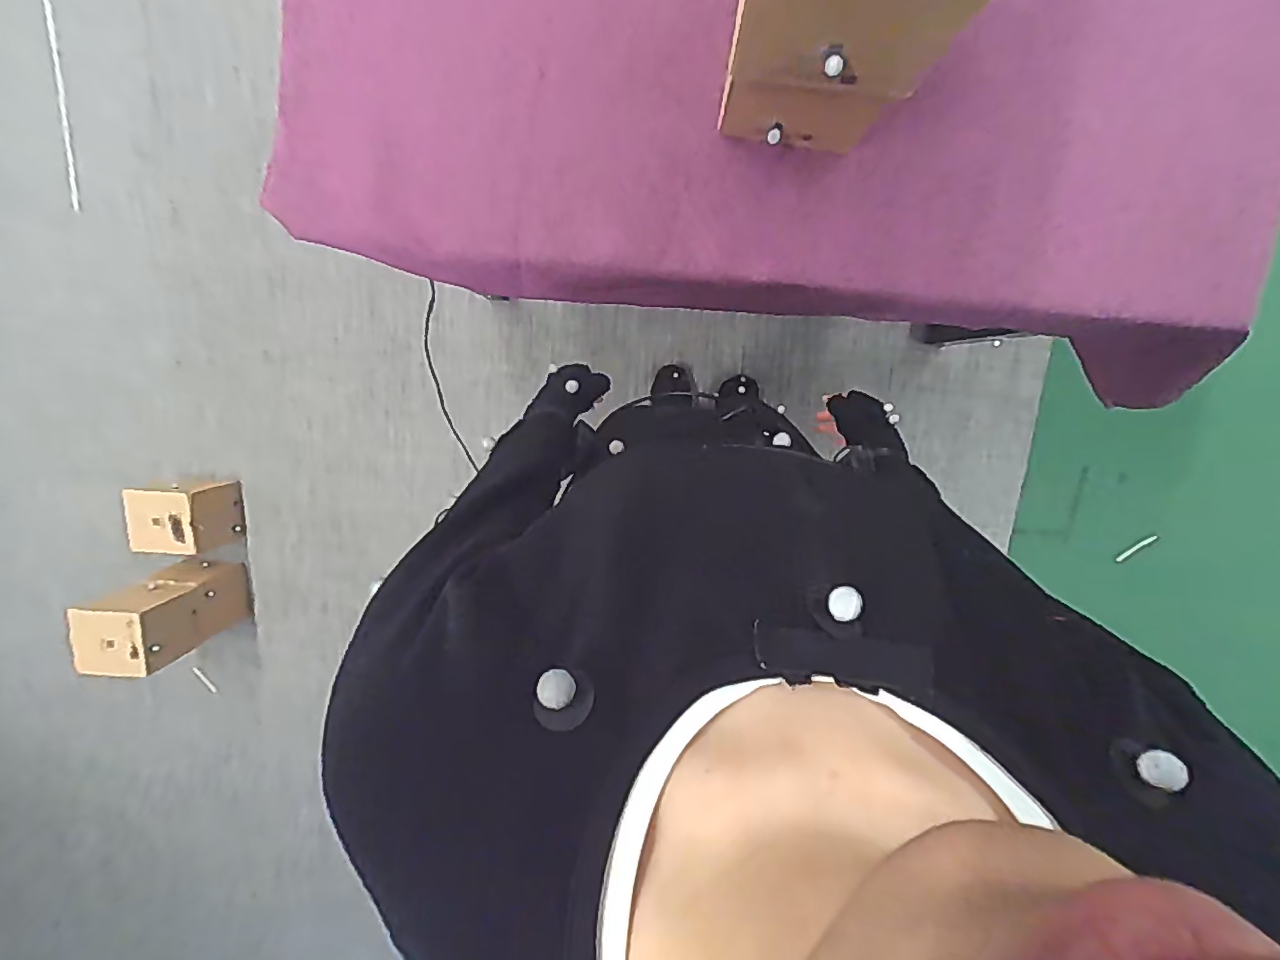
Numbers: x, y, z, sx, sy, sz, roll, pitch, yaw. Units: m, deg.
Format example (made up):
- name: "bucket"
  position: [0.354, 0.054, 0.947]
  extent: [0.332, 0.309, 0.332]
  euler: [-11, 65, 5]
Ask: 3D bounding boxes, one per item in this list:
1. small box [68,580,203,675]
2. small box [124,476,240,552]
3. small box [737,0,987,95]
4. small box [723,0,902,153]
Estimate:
- name: "small box"
  position: [-1.236, 0.356, 1.335]
  extent: [0.179, 0.176, 0.168]
  euler: [5, 101, 2]
- name: "small box"
  position: [-1.212, 0.085, 1.448]
  extent: [0.179, 0.176, 0.168]
  euler: [4, 100, 2]
- name: "small box"
  position: [0.173, -0.433, 0.401]
  extent: [0.168, 0.176, 0.179]
  euler: [8, 101, 2]
- name: "small box"
  position: [0.186, -0.477, 0.559]
  extent: [0.168, 0.176, 0.179]
  euler: [10, 101, 1]
